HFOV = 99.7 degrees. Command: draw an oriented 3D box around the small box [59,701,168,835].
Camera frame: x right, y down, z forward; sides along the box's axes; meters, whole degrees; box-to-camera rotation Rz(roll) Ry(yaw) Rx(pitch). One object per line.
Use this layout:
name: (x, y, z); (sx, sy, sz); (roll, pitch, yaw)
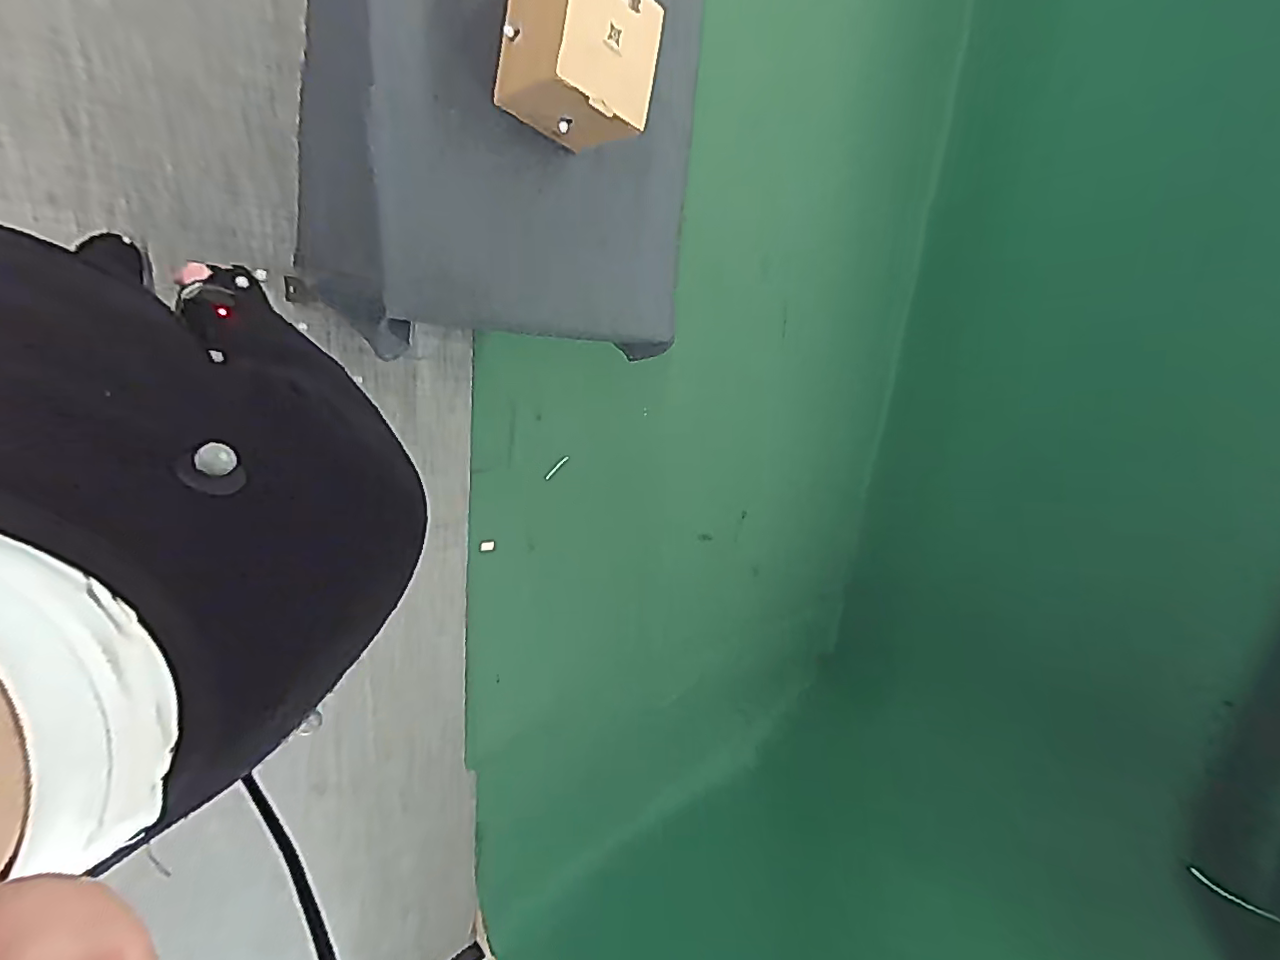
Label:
small box: (-1.203, 0.648, 1.238); (0.168, 0.176, 0.179); (-6, 109, -46)

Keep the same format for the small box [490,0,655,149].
small box: (-0.107, -0.632, 0.817); (0.168, 0.176, 0.179); (3, 103, -46)
